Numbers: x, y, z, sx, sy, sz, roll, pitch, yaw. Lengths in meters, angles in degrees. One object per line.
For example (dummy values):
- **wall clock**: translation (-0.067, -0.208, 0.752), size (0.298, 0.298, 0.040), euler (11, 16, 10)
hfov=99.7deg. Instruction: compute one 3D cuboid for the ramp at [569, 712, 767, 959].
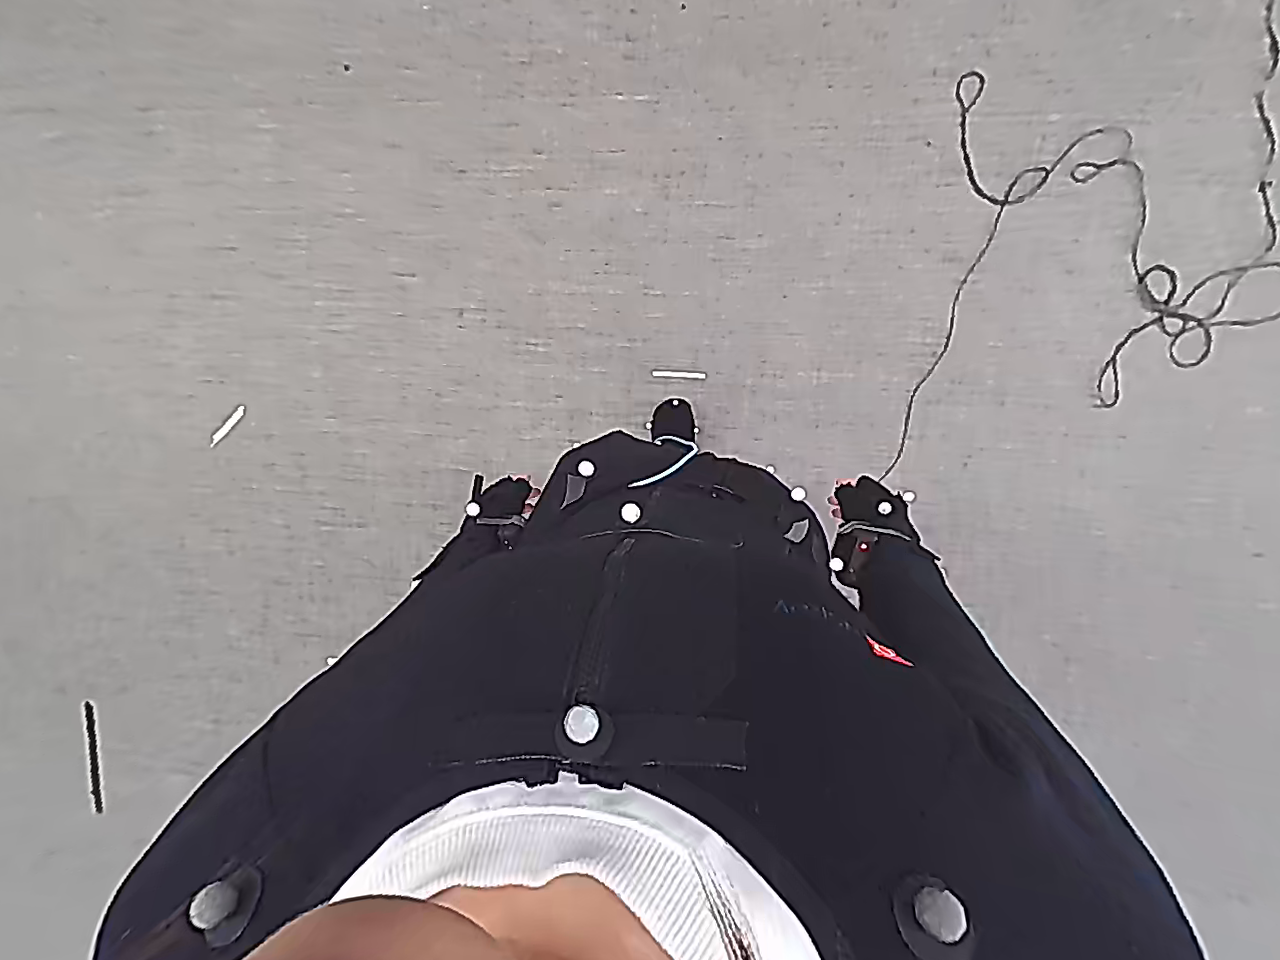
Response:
- **ramp**: translation (0.060, 1.169, 1.463), size (0.509, 0.206, 0.991), euler (3, 95, 9)
